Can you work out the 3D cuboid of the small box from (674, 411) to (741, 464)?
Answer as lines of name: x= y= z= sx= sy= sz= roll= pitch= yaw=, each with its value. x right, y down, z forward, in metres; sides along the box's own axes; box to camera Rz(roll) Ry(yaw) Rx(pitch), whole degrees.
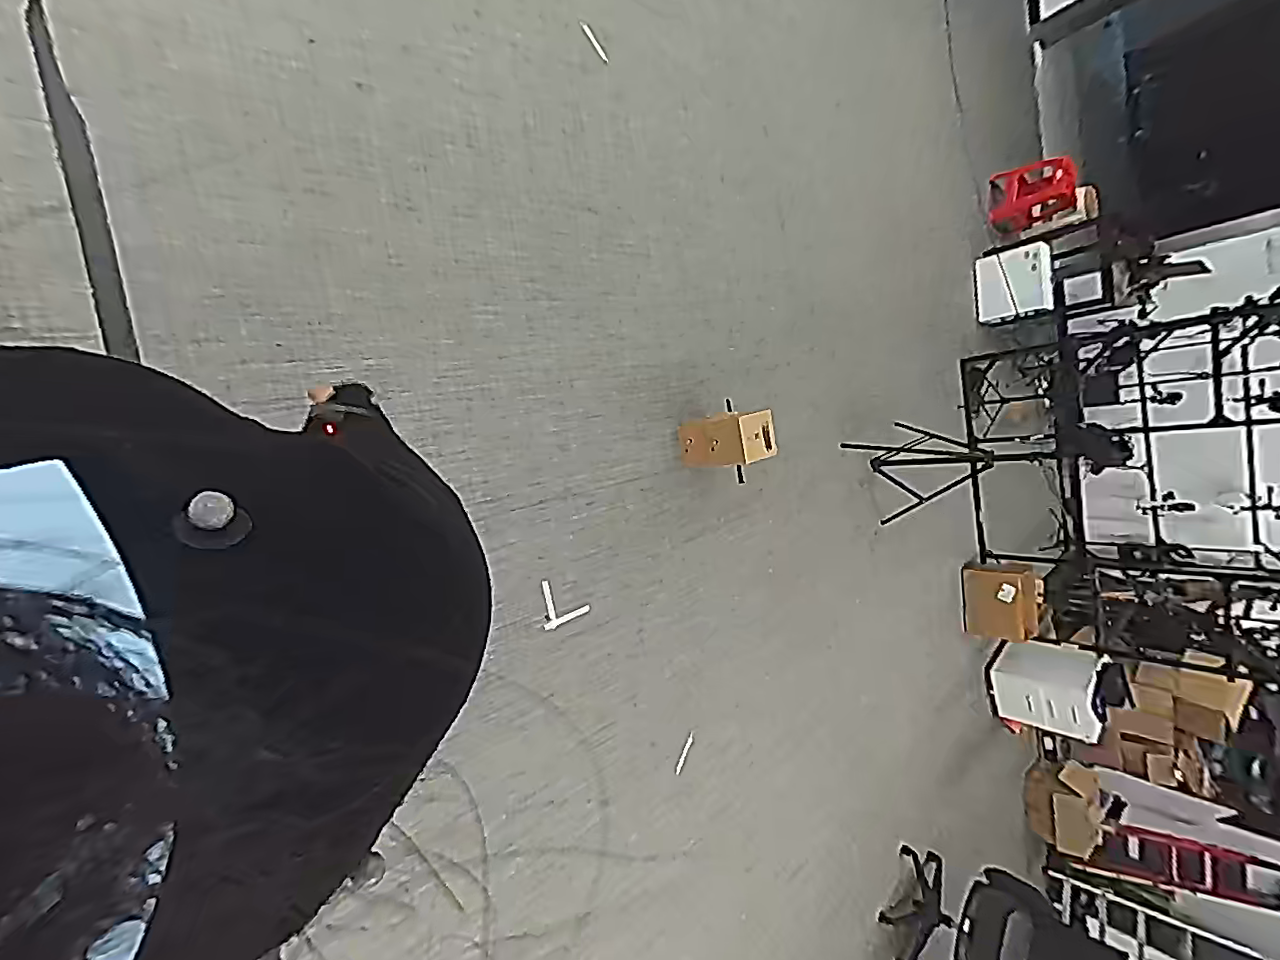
small box: x=0.260 y=-0.162 z=2.086 sx=0.179 sy=0.176 sz=0.168 roll=-21 pitch=102 yaw=-37
